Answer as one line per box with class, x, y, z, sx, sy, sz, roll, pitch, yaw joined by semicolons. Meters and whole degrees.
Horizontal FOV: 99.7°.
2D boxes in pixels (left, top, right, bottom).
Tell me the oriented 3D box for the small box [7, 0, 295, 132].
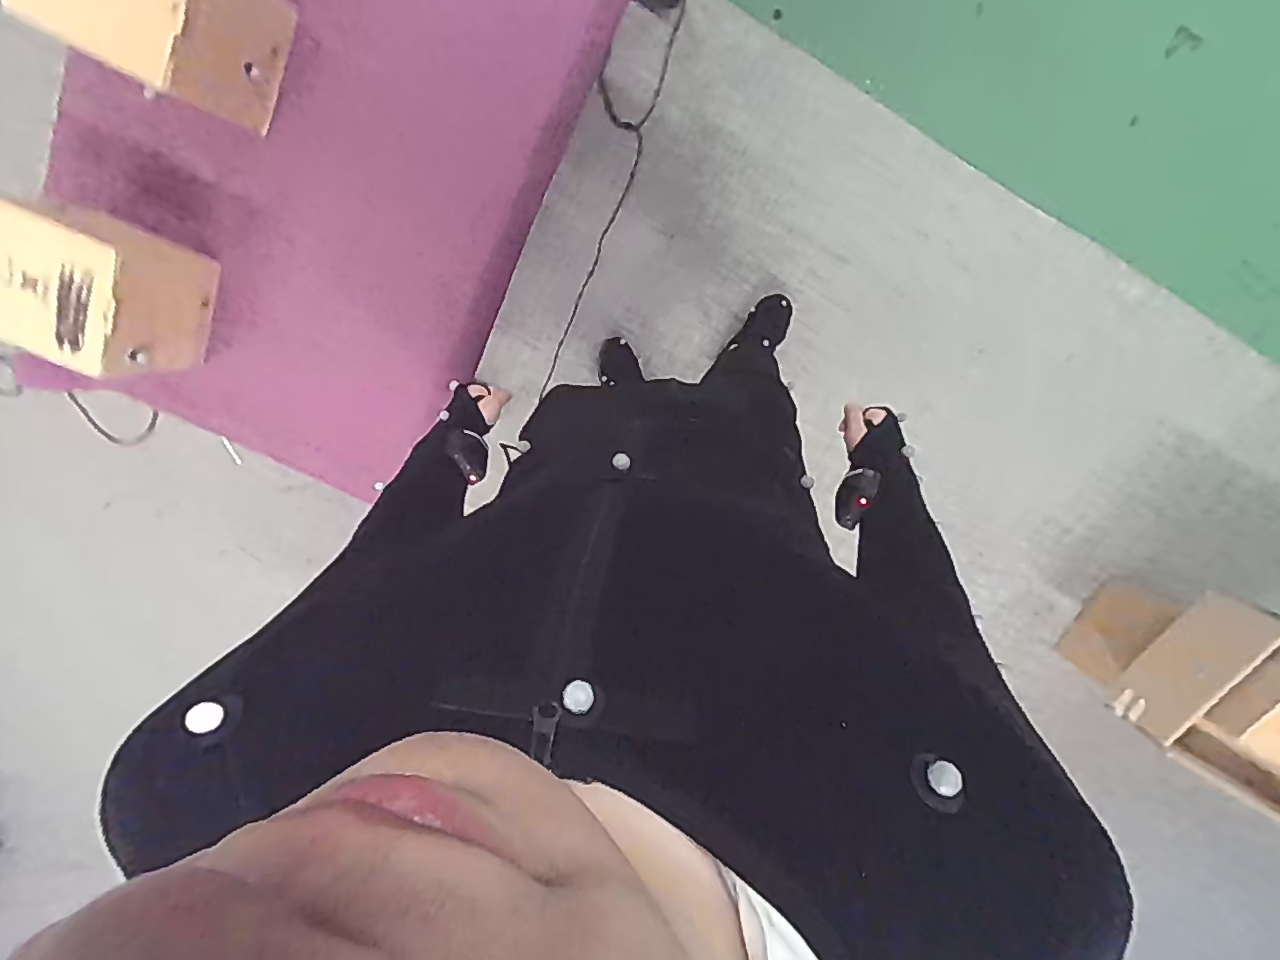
small box;-0.562;-0.554;0.643;0.179;0.176;0.168;25;106;-8
